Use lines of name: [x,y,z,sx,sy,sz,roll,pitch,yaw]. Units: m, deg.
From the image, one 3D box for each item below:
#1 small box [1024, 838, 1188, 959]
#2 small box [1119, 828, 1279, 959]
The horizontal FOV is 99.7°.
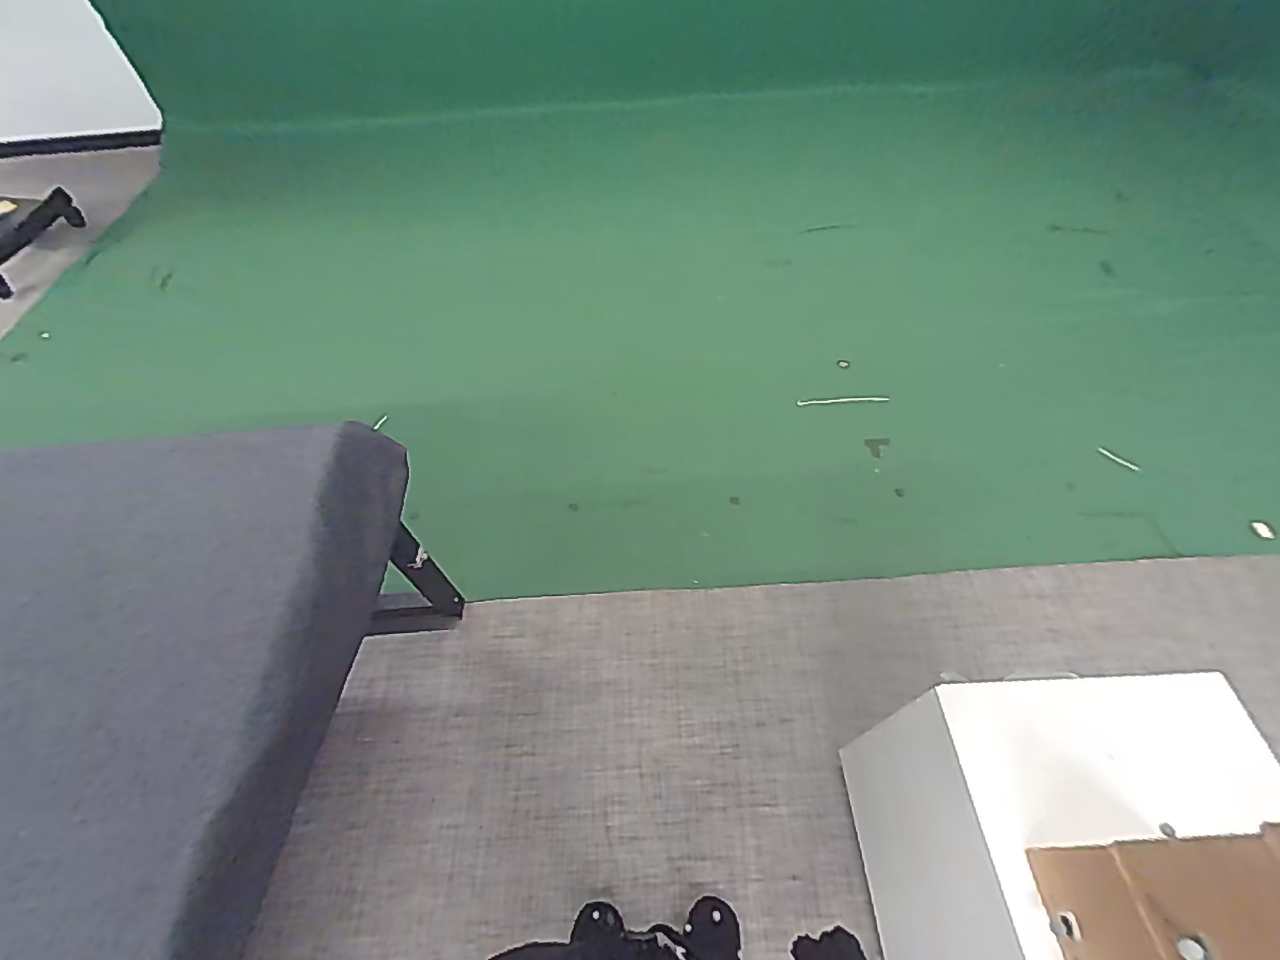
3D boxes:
small box: [0.538,0.456,0.533,0.179,0.176,0.168,-6,54,1]
small box: [0.532,0.360,0.400,0.179,0.176,0.168,-5,54,-2]
